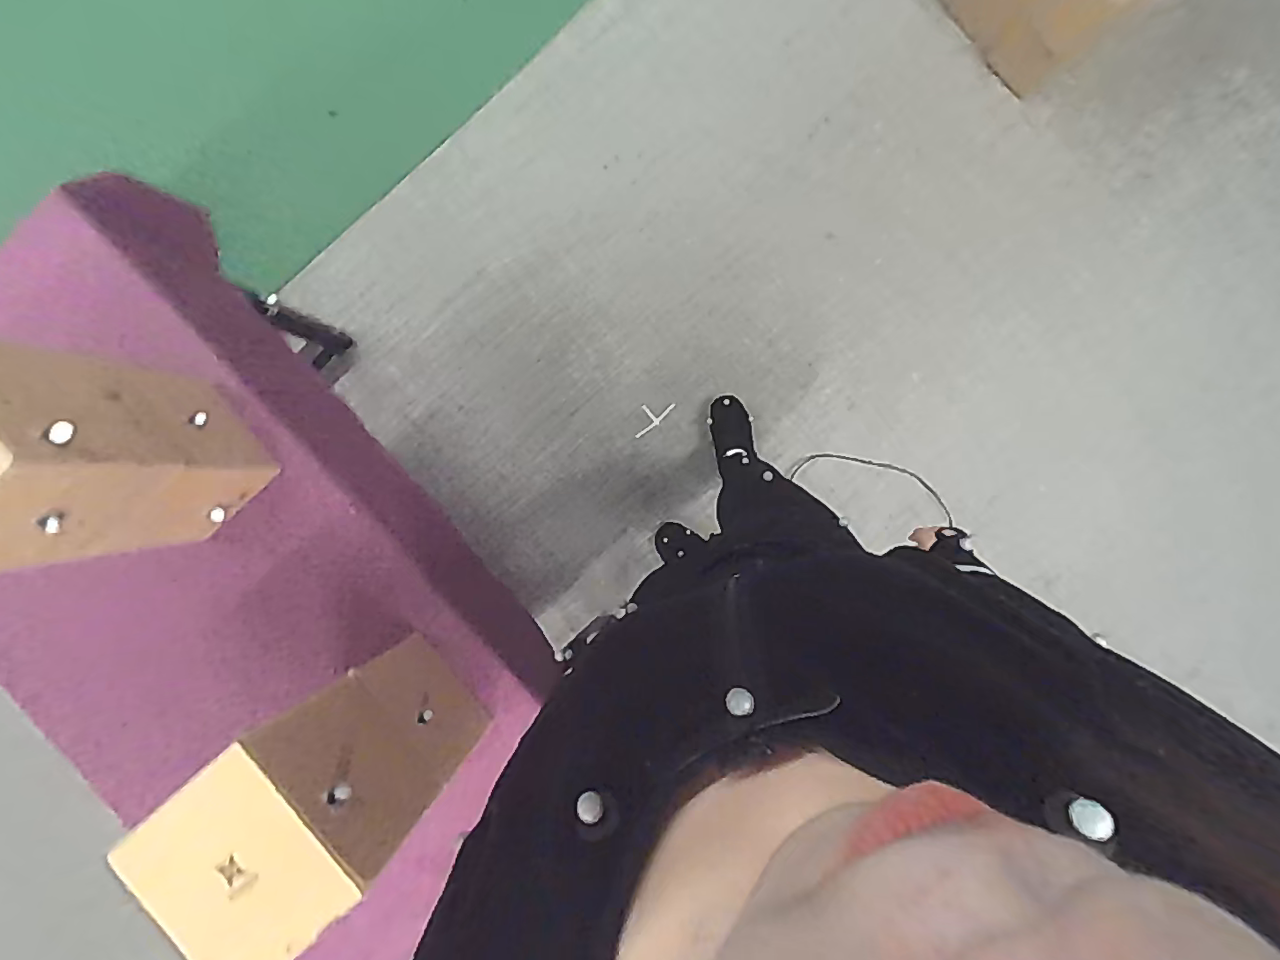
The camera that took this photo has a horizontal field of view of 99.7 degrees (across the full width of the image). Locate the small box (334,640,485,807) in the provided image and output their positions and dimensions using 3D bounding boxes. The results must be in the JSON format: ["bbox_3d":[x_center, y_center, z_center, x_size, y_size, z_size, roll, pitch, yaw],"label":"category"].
[{"bbox_3d":[-0.336,0.341,0.708,0.168,0.176,0.179,-41,87,2],"label":"small box"}]

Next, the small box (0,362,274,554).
[{"bbox_3d":[-0.656,-0.026,0.727,0.168,0.176,0.179,-41,89,3],"label":"small box"}]

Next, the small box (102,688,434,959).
[{"bbox_3d":[-0.350,0.339,0.545,0.168,0.176,0.179,-41,89,3],"label":"small box"}]
